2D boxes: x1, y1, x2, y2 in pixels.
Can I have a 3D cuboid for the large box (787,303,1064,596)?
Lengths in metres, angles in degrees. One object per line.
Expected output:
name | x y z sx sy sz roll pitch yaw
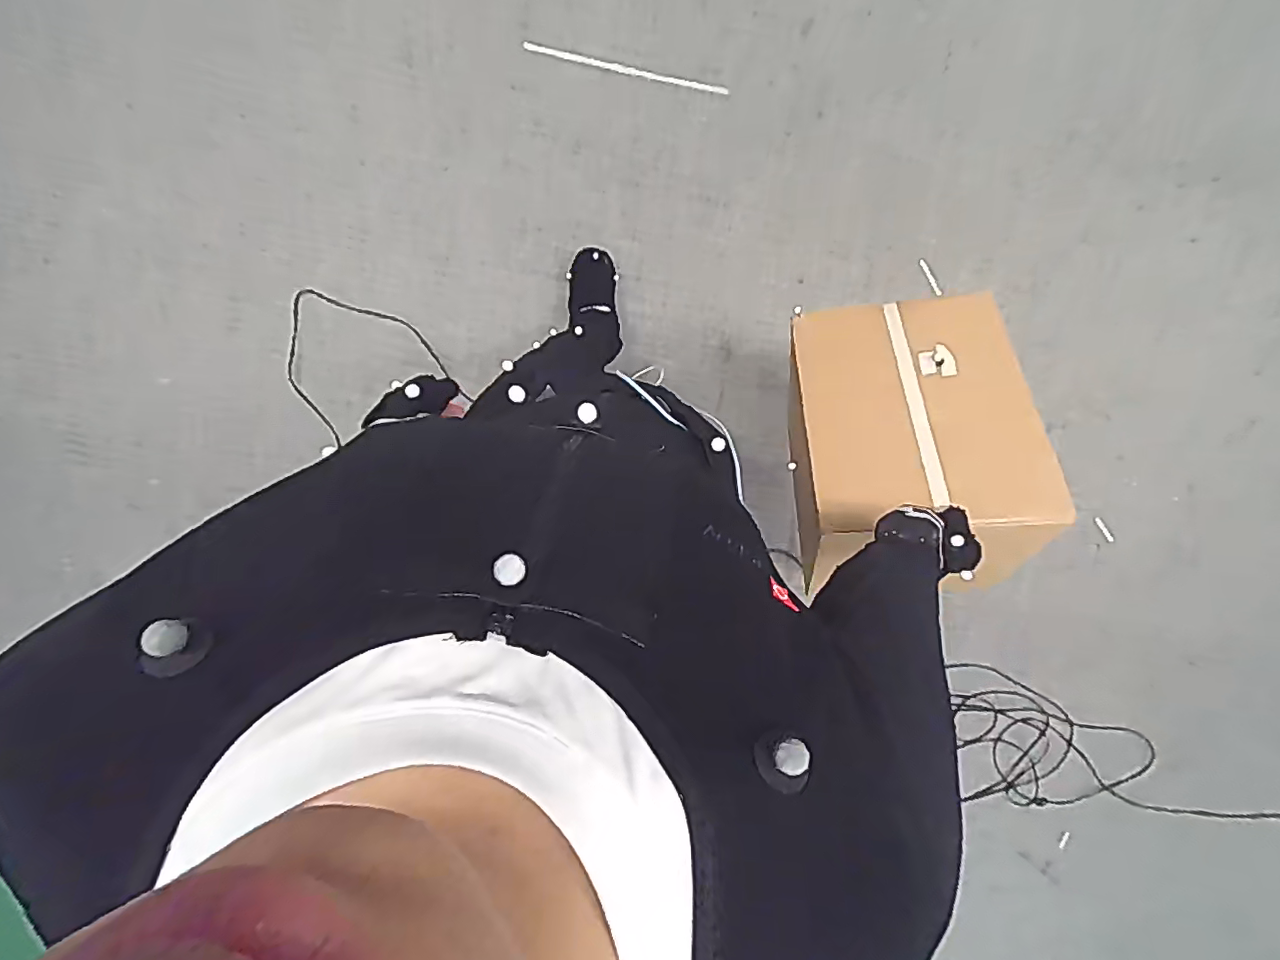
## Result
large box | 0.439 -0.038 0.950 0.320 0.320 0.408 -3 60 10
